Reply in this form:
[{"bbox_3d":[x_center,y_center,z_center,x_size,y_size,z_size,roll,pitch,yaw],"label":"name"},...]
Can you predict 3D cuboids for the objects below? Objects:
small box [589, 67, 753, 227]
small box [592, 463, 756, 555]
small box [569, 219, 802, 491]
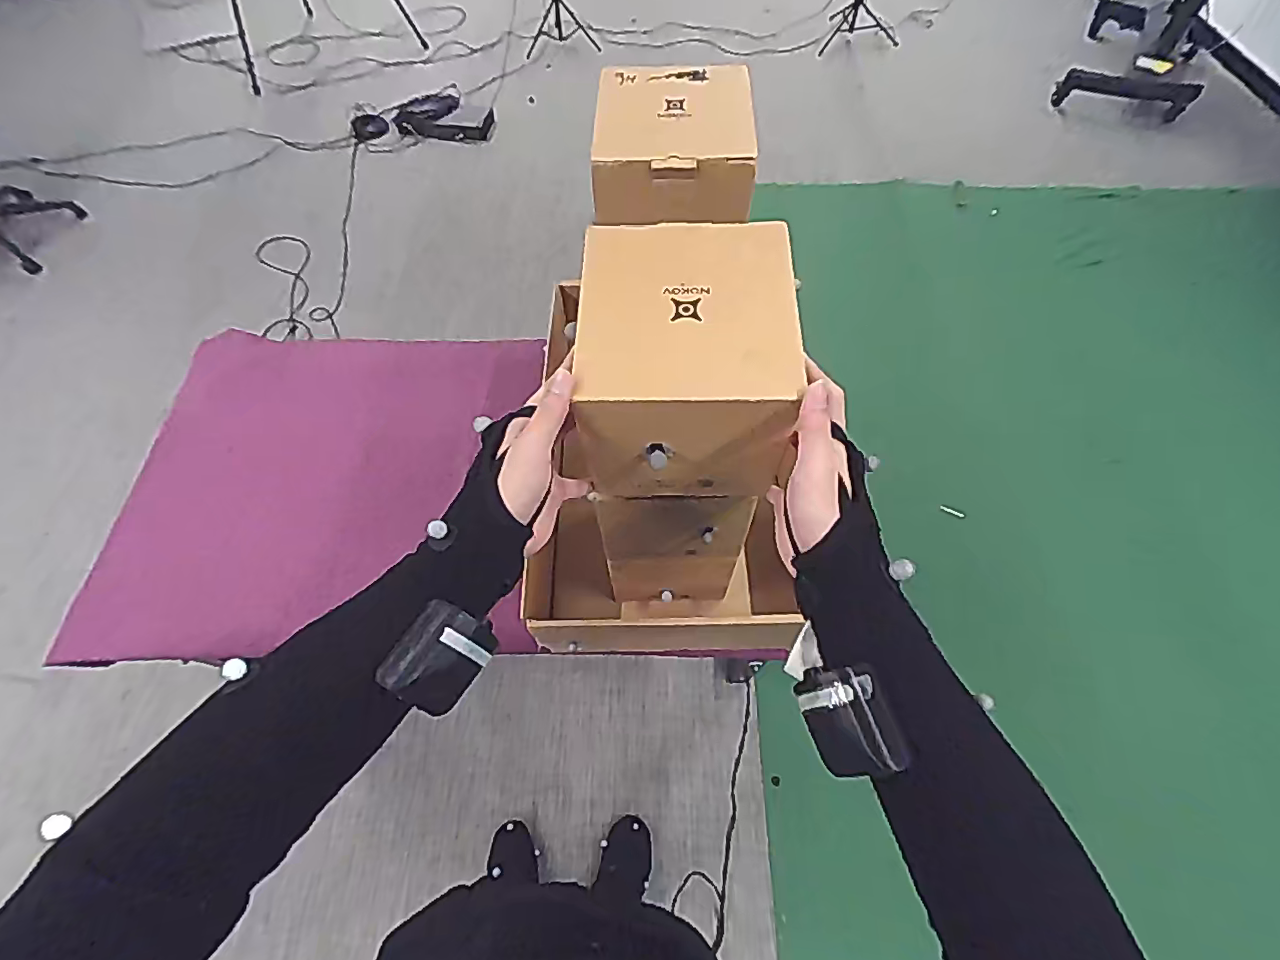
[{"bbox_3d":[0.038,-0.346,0.638,0.168,0.176,0.179,1,63,2],"label":"small box"},{"bbox_3d":[0.039,-0.018,0.643,0.168,0.176,0.179,-1,60,2],"label":"small box"},{"bbox_3d":[0.039,-0.099,0.481,0.168,0.176,0.179,0,64,3],"label":"small box"}]
